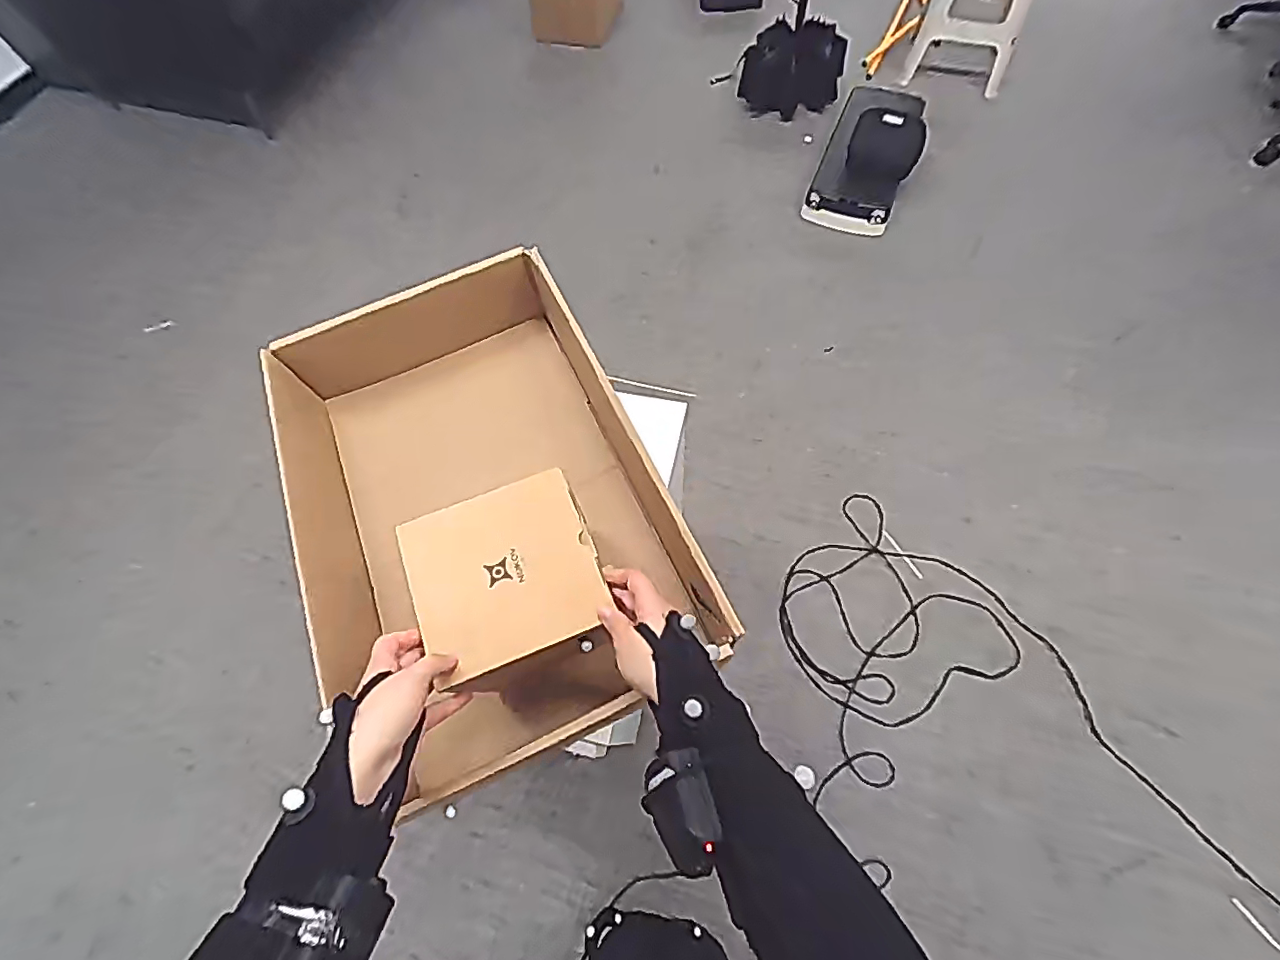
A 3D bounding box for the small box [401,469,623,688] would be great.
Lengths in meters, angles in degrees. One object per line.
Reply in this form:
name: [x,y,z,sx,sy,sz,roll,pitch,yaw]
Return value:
small box: [-0.128,0.118,0.596,0.179,0.176,0.168,-21,69,-8]
